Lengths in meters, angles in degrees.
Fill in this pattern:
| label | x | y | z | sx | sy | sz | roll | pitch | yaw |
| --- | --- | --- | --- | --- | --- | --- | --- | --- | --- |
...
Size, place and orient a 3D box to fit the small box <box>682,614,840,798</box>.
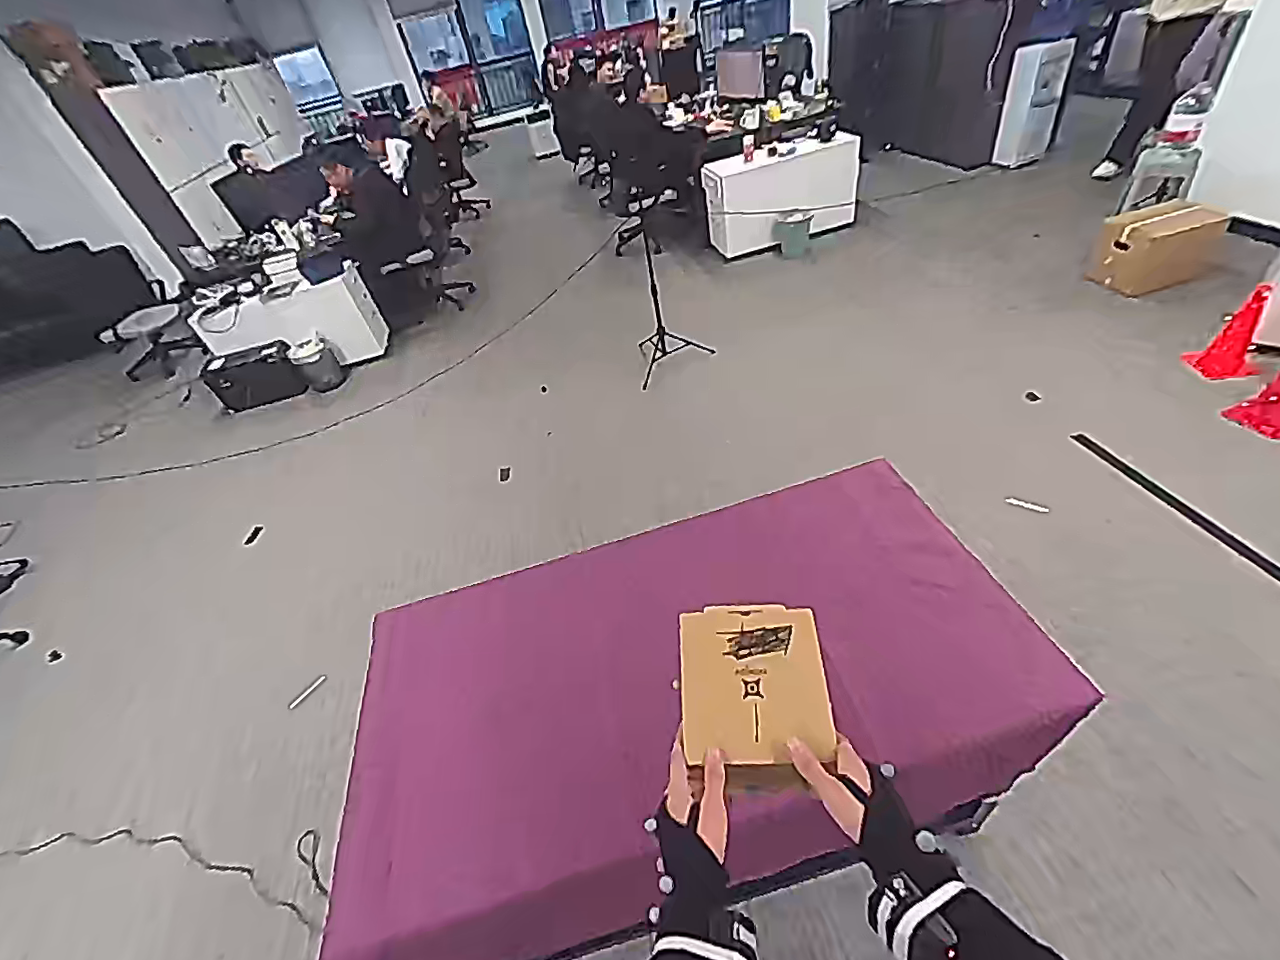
| label | x | y | z | sx | sy | sz | roll | pitch | yaw |
| --- | --- | --- | --- | --- | --- | --- | --- | --- | --- |
| small box | 0.140 | 0.288 | 0.686 | 0.168 | 0.176 | 0.179 | -4 | 50 | 6 |
